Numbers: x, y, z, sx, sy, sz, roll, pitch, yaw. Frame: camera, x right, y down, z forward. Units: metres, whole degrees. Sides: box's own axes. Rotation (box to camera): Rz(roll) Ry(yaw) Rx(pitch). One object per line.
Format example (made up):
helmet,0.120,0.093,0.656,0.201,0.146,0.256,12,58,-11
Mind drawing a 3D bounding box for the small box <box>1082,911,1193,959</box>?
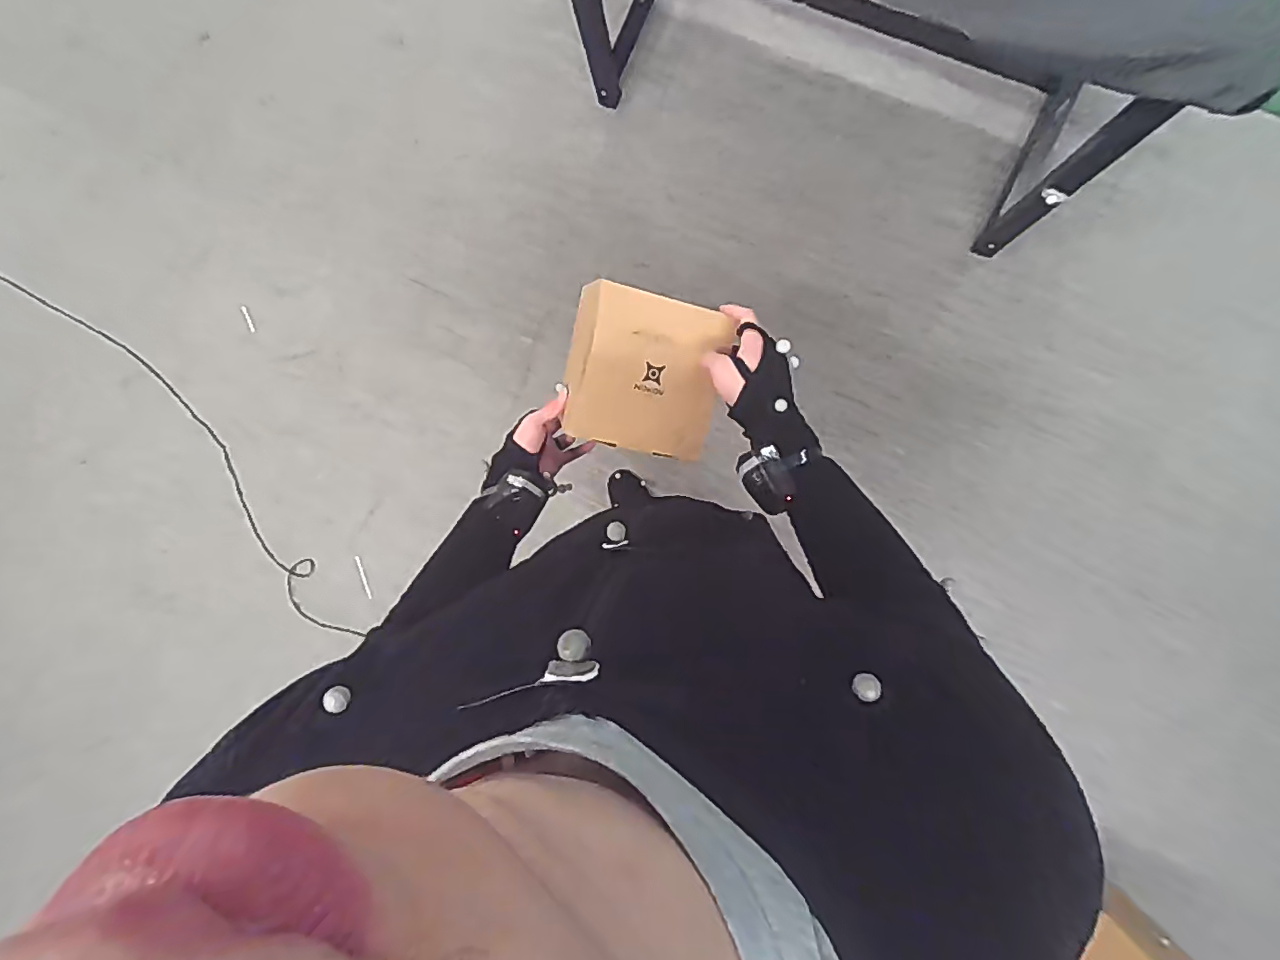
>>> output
small box,1.014,1.014,1.058,0.168,0.176,0.179,23,88,4
